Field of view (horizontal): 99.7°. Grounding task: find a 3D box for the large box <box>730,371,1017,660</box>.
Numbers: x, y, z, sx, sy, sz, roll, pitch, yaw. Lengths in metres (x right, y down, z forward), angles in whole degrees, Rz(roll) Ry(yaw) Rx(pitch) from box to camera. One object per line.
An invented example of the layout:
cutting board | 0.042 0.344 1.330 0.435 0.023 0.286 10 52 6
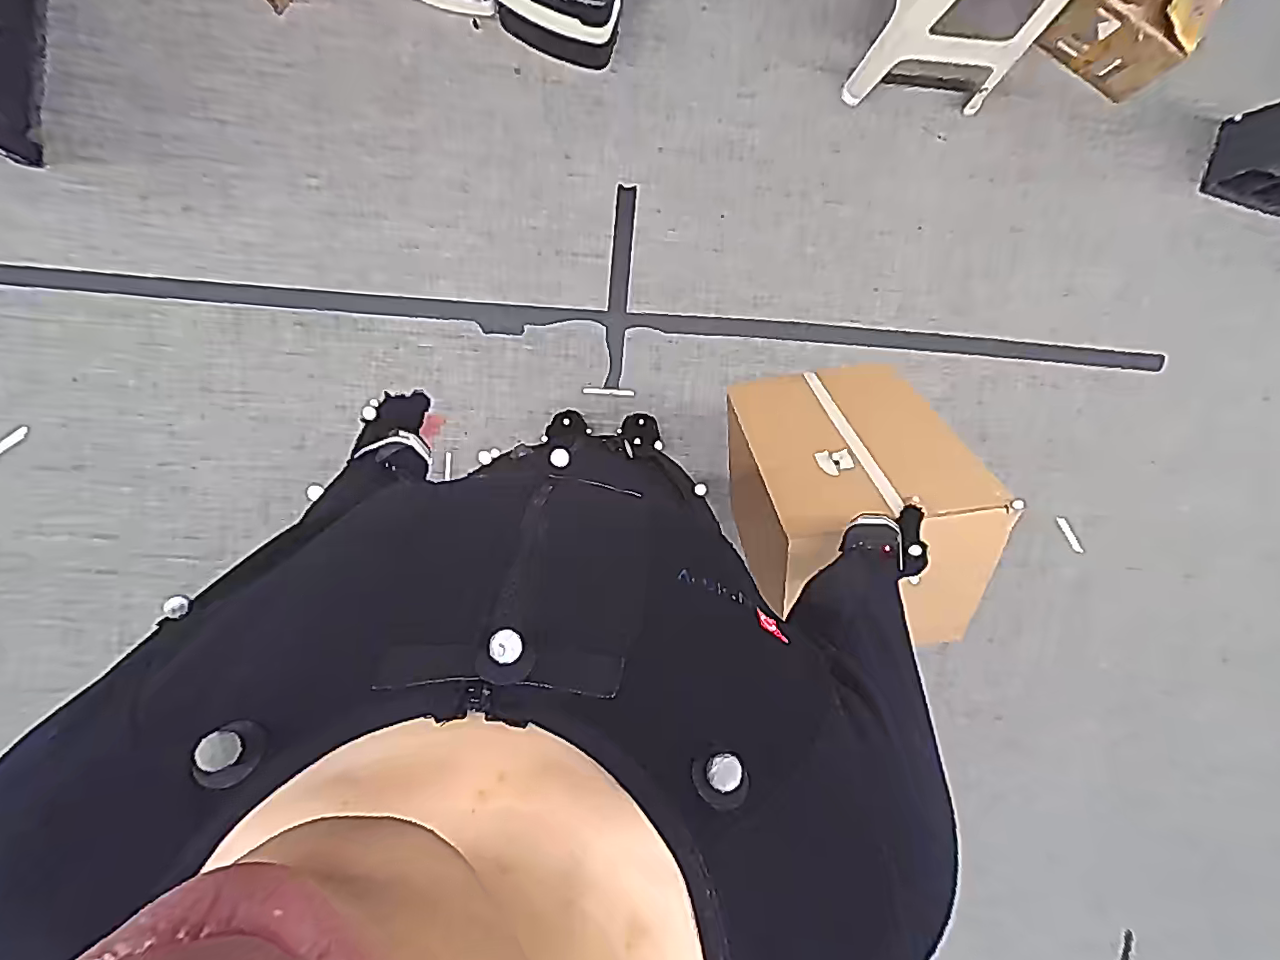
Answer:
large box | 0.360 0.052 0.980 0.320 0.408 0.320 -9 131 1
